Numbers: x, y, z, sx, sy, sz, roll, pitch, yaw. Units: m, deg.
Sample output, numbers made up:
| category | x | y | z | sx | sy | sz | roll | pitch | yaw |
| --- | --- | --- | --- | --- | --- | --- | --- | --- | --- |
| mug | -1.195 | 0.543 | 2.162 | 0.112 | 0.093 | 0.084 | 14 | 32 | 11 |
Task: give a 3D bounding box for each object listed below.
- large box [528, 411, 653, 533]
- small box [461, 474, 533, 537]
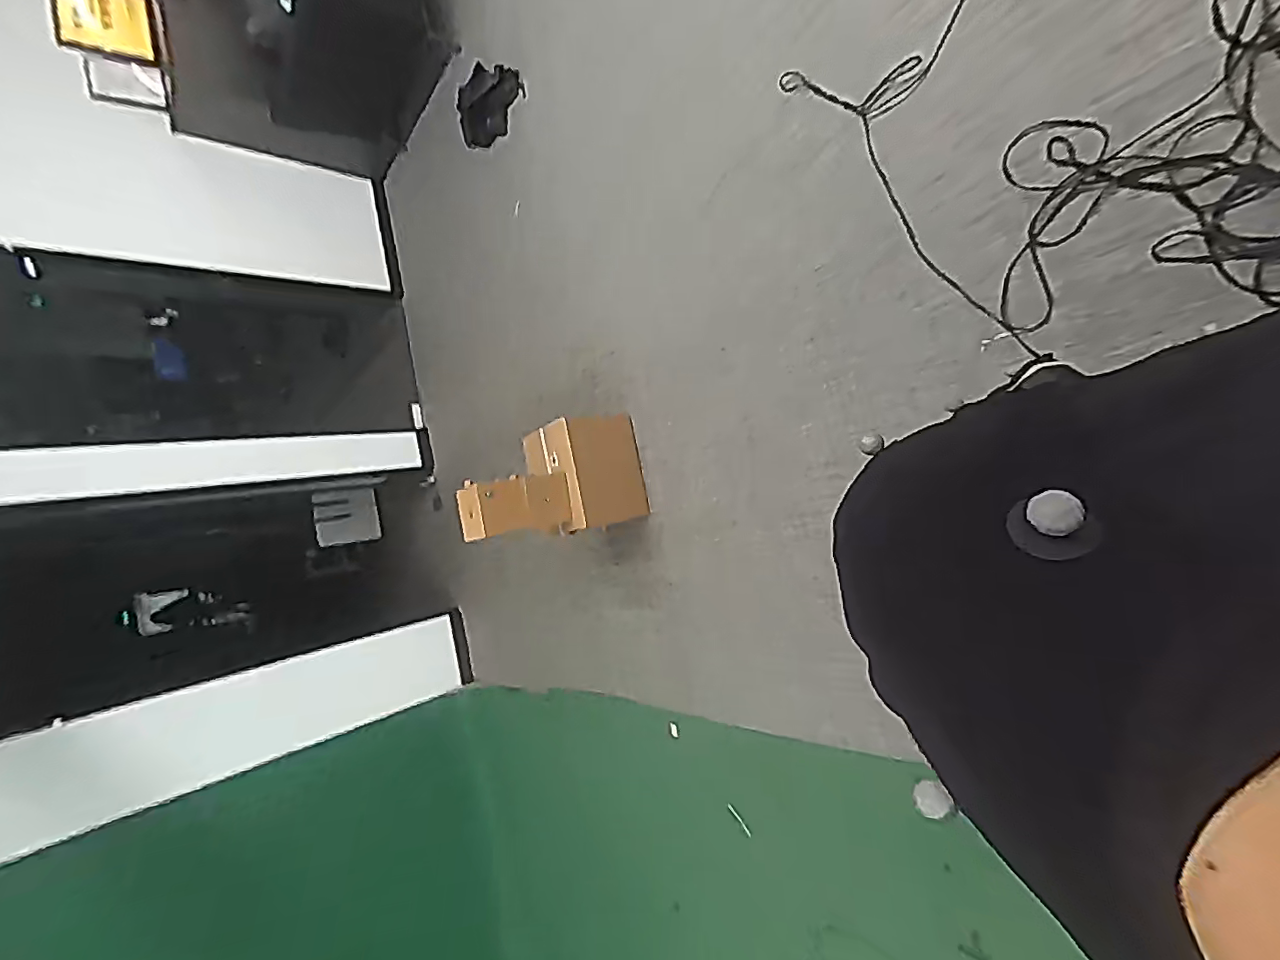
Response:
| category | x | y | z | sx | sy | sz | roll | pitch | yaw |
| --- | --- | --- | --- | --- | --- | --- | --- | --- | --- |
| large box | -0.192 | -0.031 | 2.090 | 0.320 | 0.320 | 0.408 | -17 | 83 | 47 |
| small box | -0.476 | 0.085 | 1.812 | 0.168 | 0.176 | 0.179 | -15 | 85 | 49 |
